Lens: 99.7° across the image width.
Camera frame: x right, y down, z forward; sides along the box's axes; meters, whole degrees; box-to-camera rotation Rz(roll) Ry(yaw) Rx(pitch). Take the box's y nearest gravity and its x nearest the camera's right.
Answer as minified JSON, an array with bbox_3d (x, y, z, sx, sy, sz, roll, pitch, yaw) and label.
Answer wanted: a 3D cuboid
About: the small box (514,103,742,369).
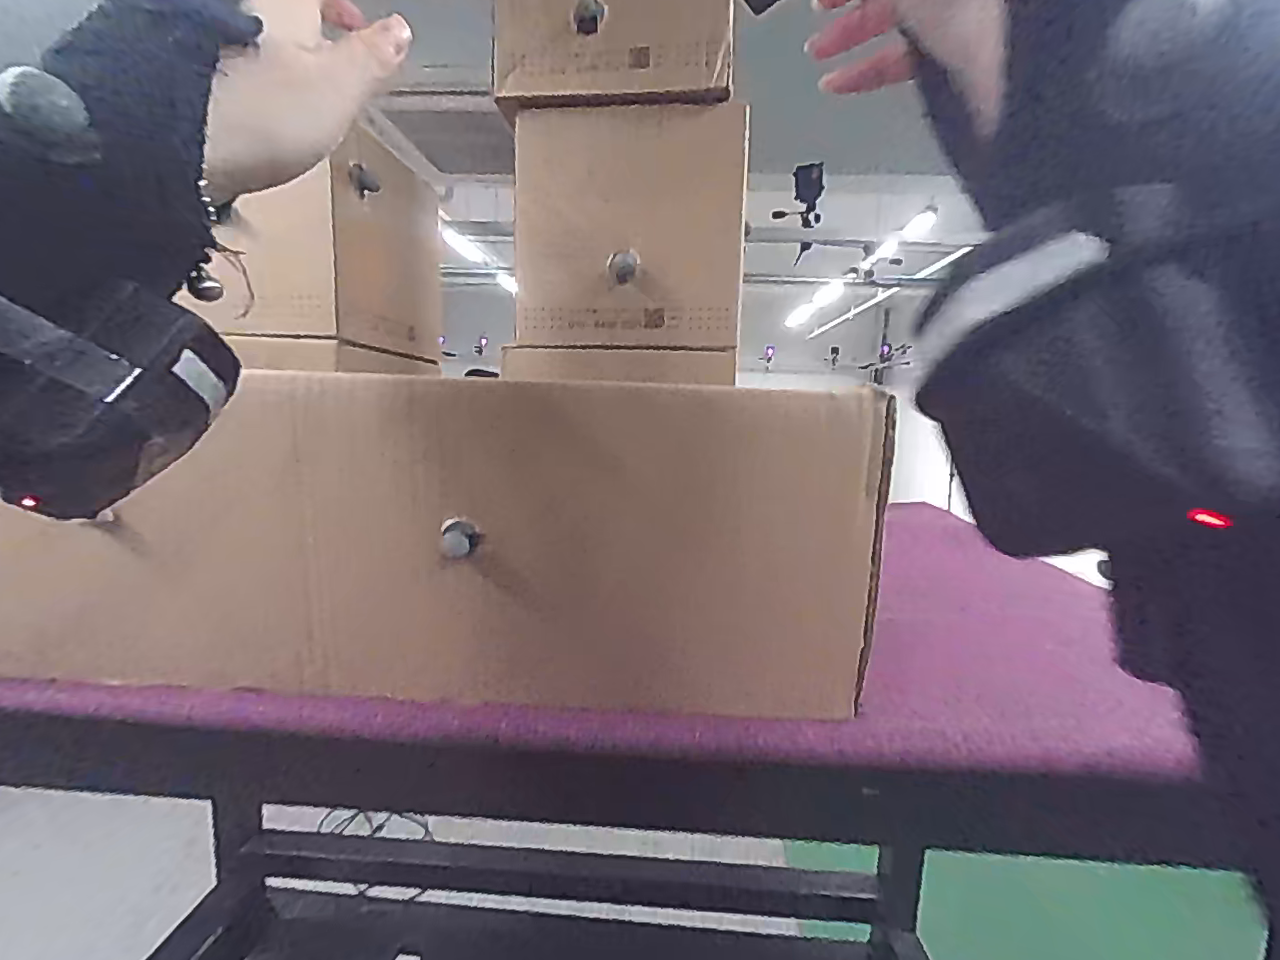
[{"bbox_3d":[-0.005,-0.187,0.469,0.168,0.176,0.179,1,7,5],"label":"small box"}]

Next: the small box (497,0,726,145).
[{"bbox_3d":[-0.015,-0.348,0.446,0.168,0.176,0.179,2,7,6],"label":"small box"}]
